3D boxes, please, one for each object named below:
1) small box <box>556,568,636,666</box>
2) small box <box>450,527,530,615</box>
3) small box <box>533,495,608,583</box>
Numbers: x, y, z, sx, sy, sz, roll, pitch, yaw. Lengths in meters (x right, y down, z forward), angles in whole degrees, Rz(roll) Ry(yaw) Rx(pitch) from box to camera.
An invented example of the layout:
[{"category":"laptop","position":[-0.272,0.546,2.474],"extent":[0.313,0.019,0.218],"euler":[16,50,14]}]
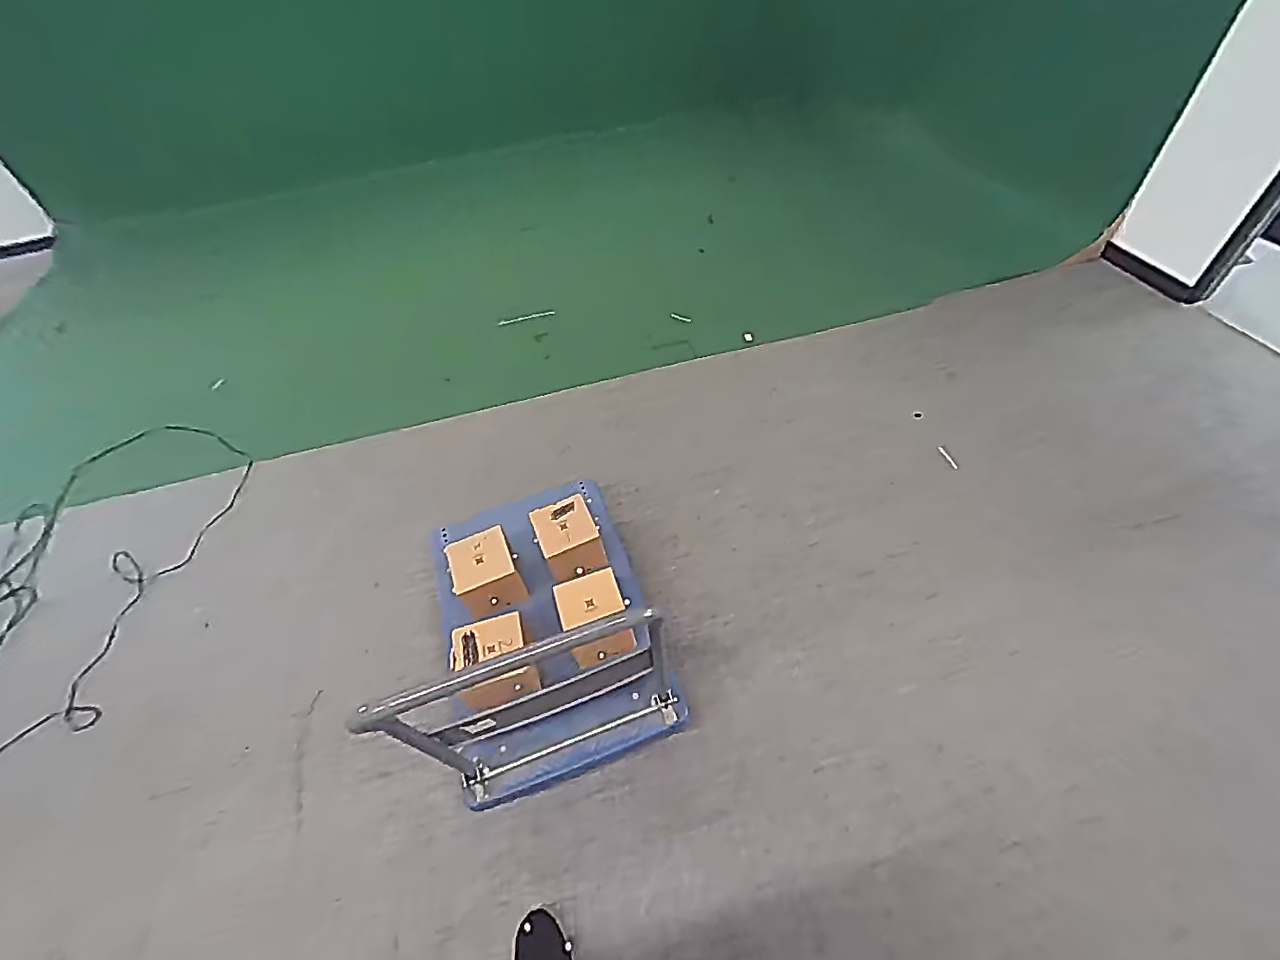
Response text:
[{"category":"small box","position":[-0.117,0.374,1.470],"extent":[0.168,0.176,0.179],"euler":[-18,51,-8]},{"category":"small box","position":[-0.438,0.275,1.591],"extent":[0.168,0.176,0.179],"euler":[-21,51,-11]},{"category":"small box","position":[-0.208,0.181,1.637],"extent":[0.168,0.176,0.179],"euler":[-22,53,-9]}]
